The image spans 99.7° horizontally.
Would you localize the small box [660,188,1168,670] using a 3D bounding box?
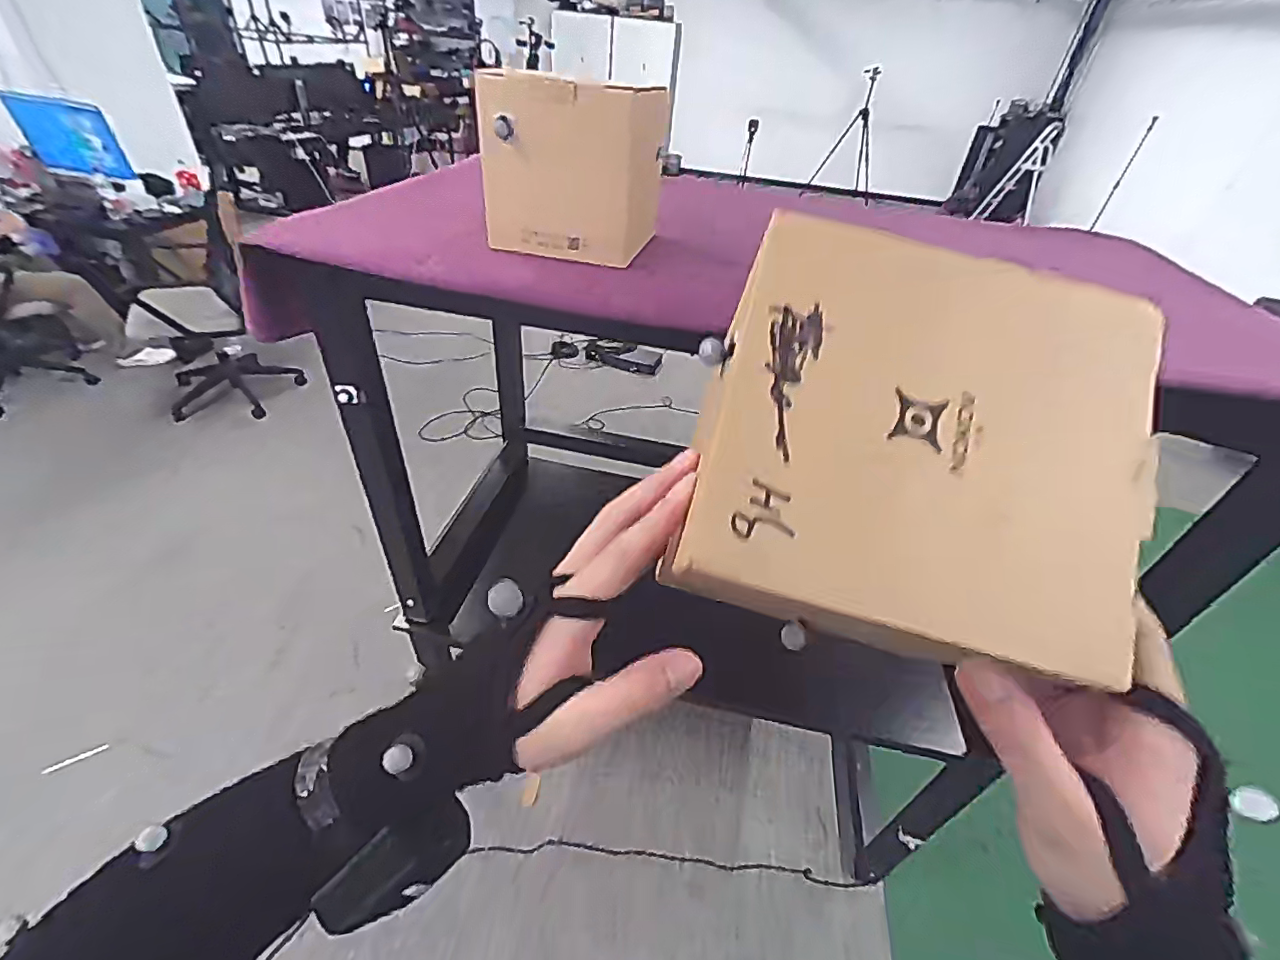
[{"bbox_3d":[0.120,-0.012,0.296,0.179,0.176,0.168,17,76,1],"label":"small box"}]
